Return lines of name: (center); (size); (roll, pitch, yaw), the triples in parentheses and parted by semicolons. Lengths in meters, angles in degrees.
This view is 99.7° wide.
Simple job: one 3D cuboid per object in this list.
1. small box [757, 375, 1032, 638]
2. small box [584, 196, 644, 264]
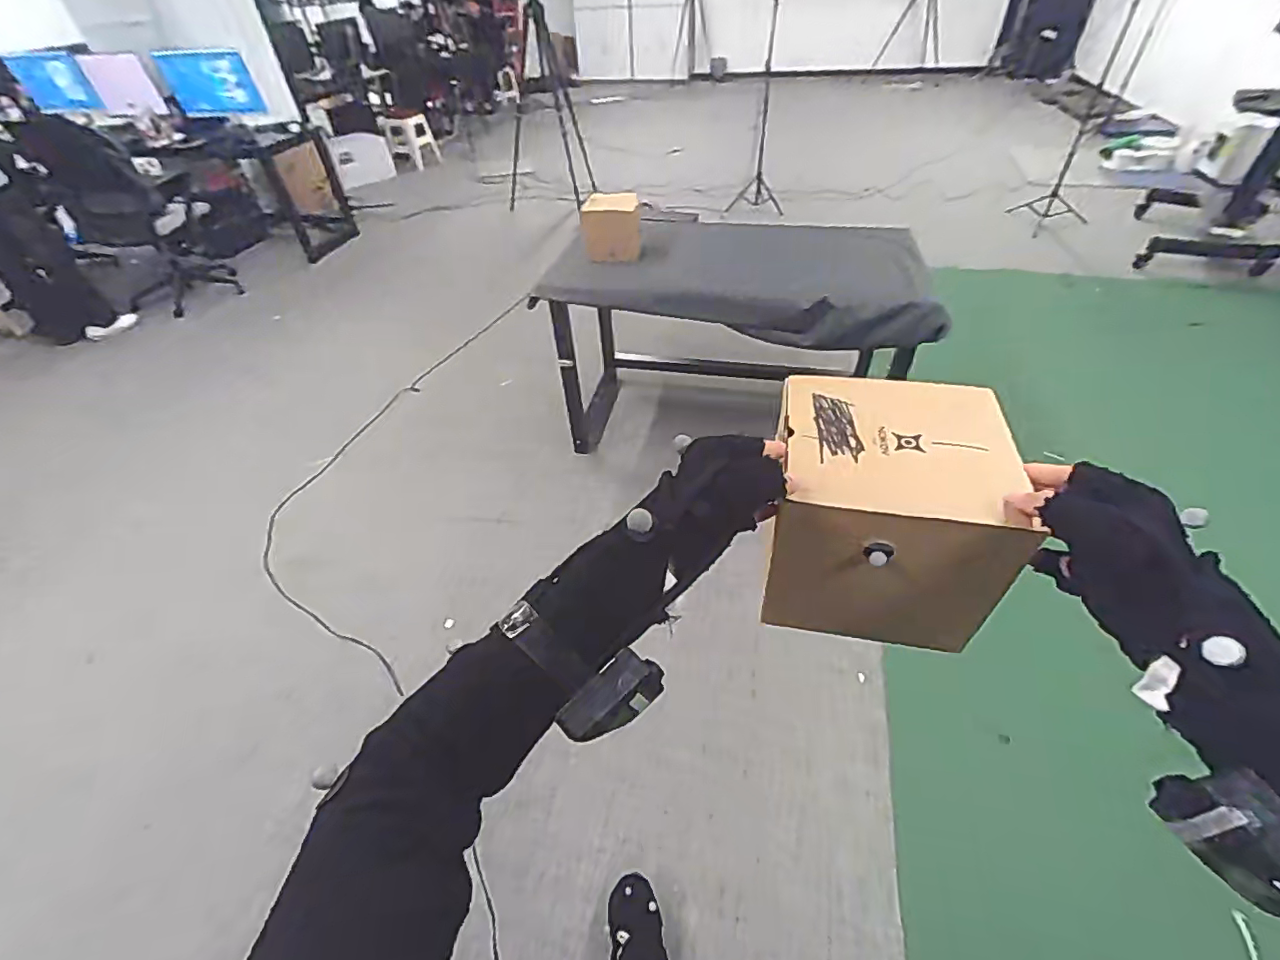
small box: (0.204, 0.024, 0.493); (0.179, 0.176, 0.168); (7, 46, 10)
small box: (-0.083, -0.858, 1.859); (0.179, 0.176, 0.168); (5, 44, 8)
